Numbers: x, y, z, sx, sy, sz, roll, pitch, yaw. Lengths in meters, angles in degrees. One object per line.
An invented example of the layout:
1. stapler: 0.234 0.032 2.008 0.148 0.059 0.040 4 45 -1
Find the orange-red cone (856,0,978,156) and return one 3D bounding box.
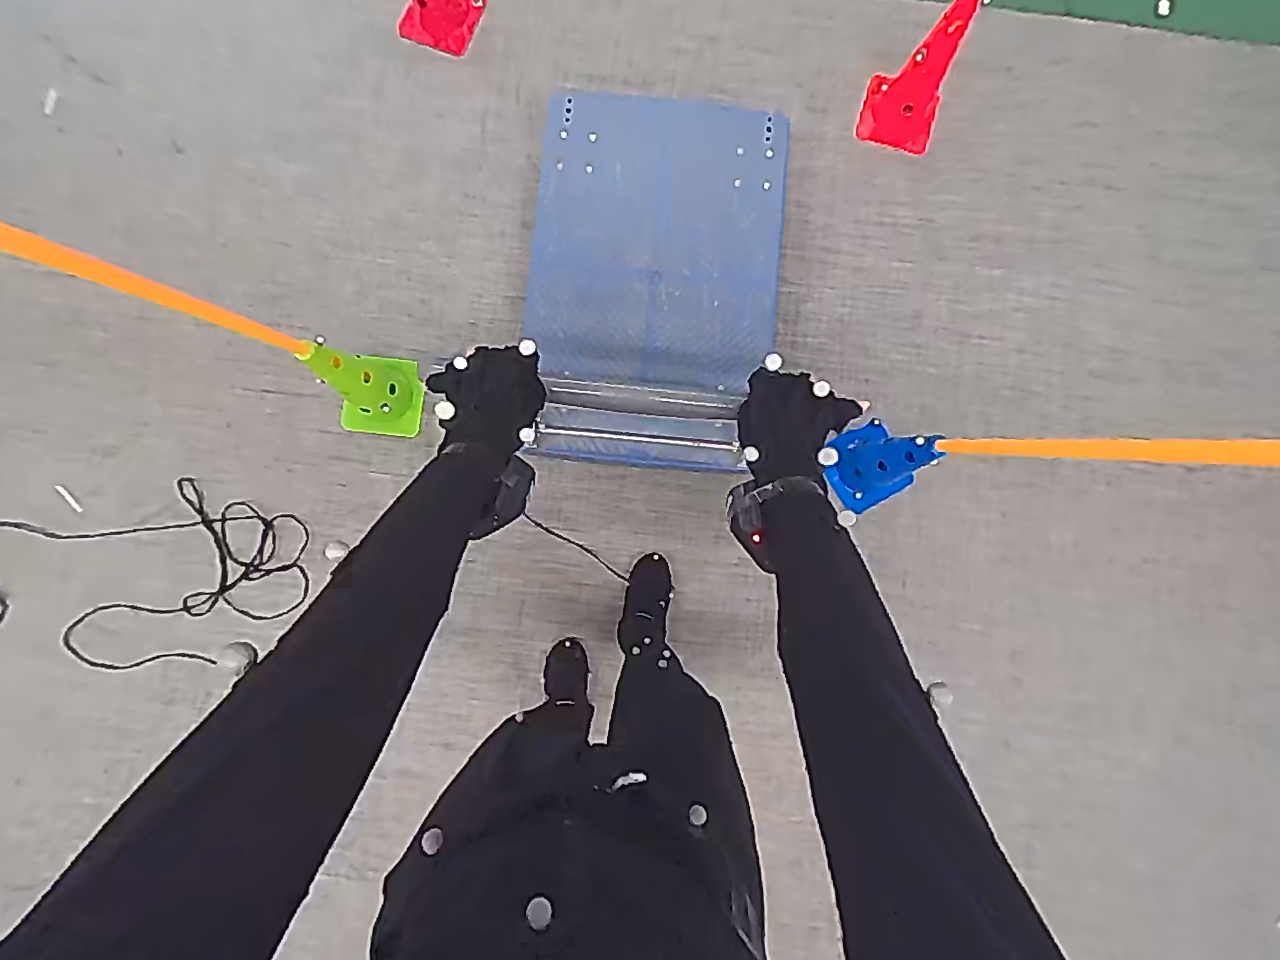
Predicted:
1. orange-red cone: 0.710 -1.019 1.321 0.198 0.360 0.199 18 85 2
